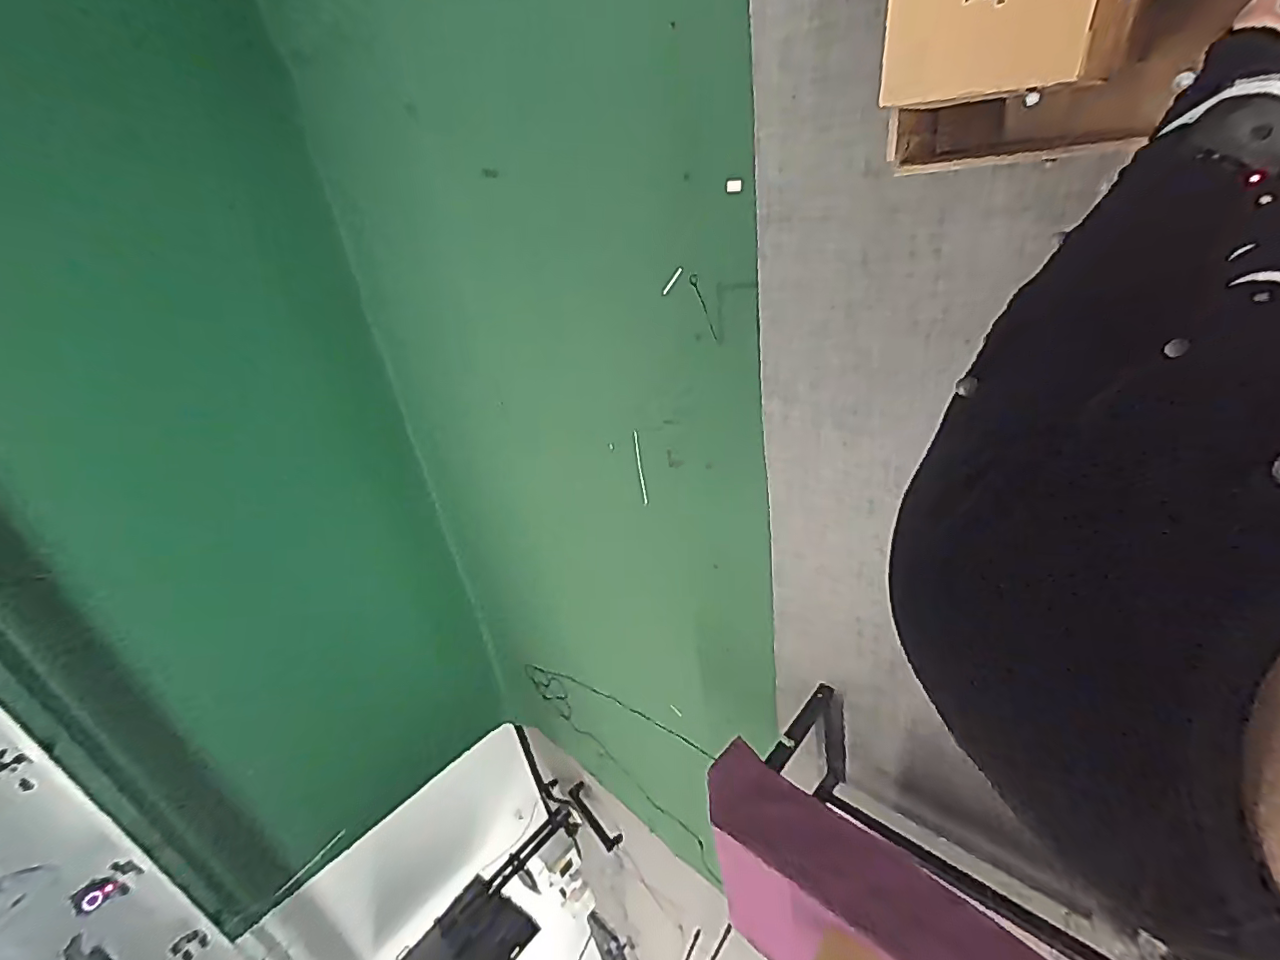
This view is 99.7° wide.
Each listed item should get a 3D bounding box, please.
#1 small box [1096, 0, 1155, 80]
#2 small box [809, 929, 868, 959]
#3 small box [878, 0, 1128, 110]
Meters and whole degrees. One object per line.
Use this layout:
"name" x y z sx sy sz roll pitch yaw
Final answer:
"small box" 0.474 -0.553 0.622 0.179 0.176 0.168 20 129 39
"small box" 0.530 1.346 1.416 0.179 0.176 0.168 12 123 43
"small box" 0.363 -0.474 0.532 0.179 0.176 0.168 20 129 38
